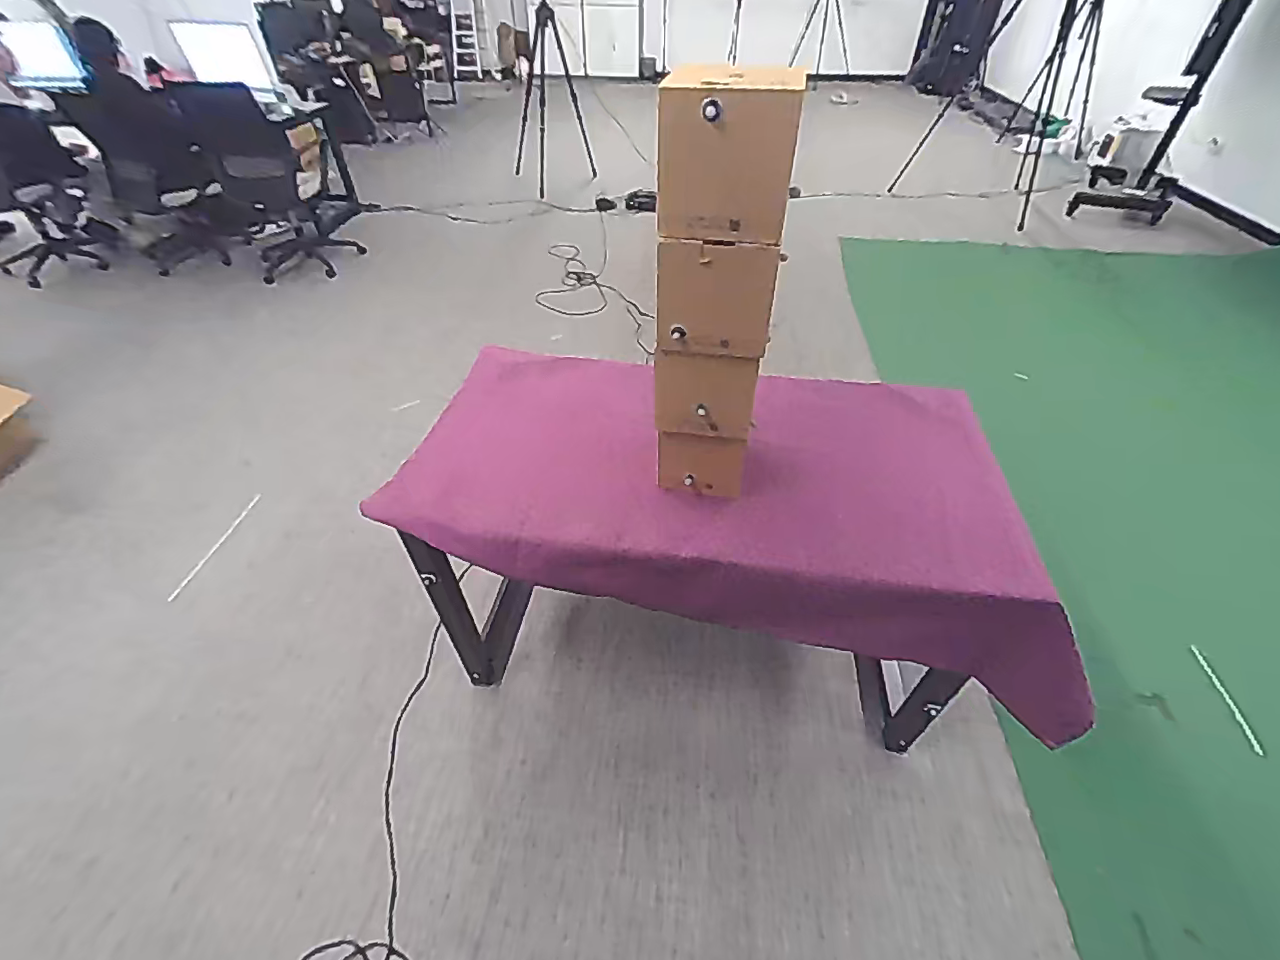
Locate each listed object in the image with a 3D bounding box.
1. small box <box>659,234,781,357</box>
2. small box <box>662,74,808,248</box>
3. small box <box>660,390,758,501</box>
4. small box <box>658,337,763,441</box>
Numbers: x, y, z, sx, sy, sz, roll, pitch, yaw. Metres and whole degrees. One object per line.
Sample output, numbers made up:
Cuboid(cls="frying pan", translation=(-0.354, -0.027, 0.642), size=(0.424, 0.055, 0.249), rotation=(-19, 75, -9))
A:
Cuboid(cls="small box", translation=(0.125, -0.306, 0.832), size=(0.168, 0.176, 0.179), rotation=(8, 43, 9))
Cuboid(cls="small box", translation=(0.124, -0.428, 0.723), size=(0.168, 0.176, 0.179), rotation=(8, 43, 11))
Cuboid(cls="small box", translation=(0.135, -0.085, 1.076), size=(0.168, 0.176, 0.179), rotation=(8, 45, 10))
Cuboid(cls="small box", translation=(0.125, -0.194, 0.952), size=(0.168, 0.176, 0.179), rotation=(7, 44, 9))
